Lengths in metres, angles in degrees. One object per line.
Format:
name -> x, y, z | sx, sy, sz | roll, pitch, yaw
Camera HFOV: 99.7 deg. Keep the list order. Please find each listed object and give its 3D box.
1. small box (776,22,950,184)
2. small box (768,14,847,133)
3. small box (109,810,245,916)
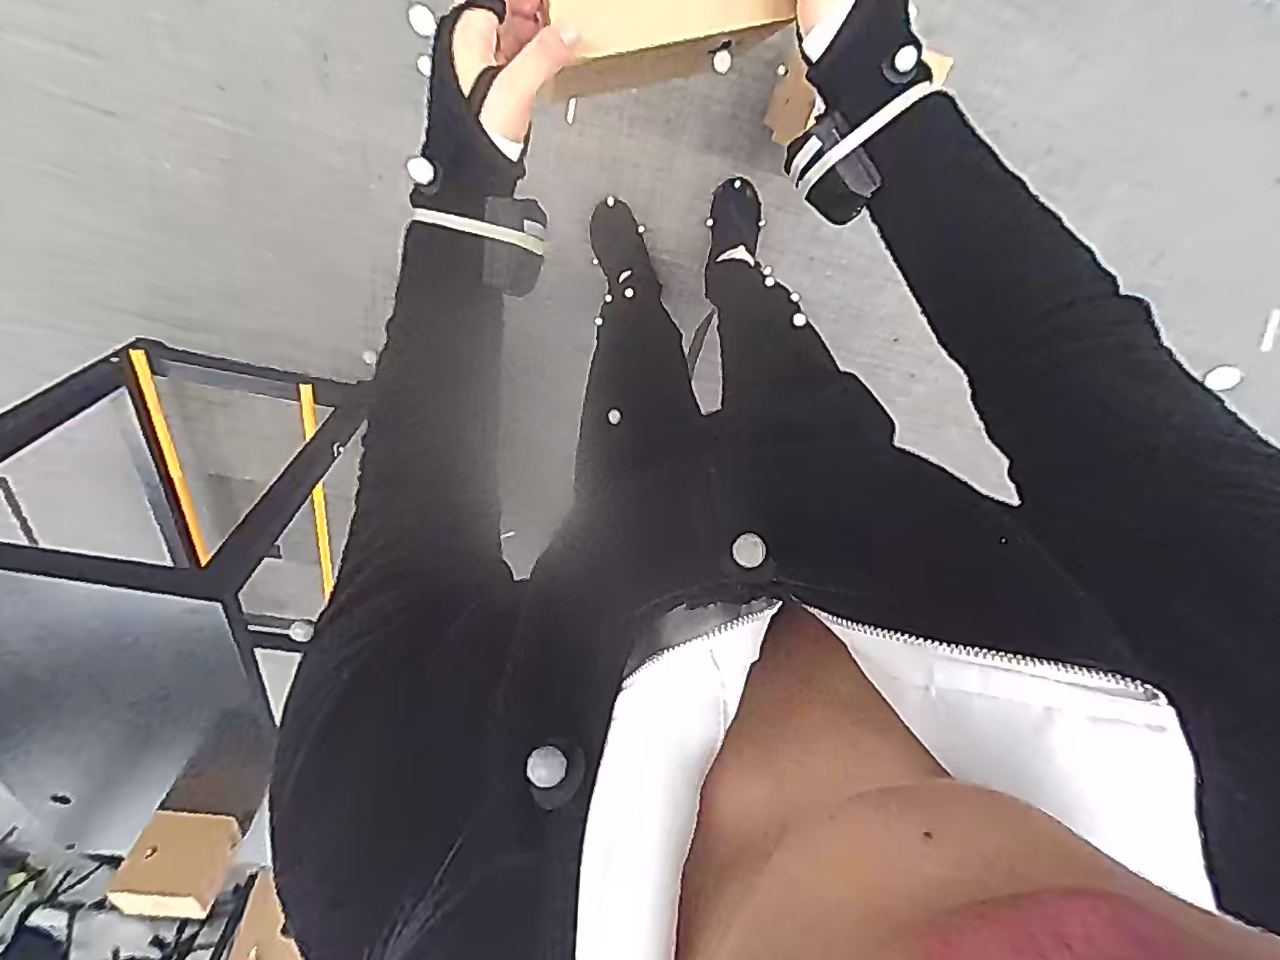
small box -> 0.339, -0.601, 0.869 | 0.179, 0.176, 0.168 | 10, 127, -11
small box -> 0.349, -0.713, 0.991 | 0.168, 0.176, 0.179 | 13, 128, -11
small box -> -1.103, 0.922, 1.306 | 0.179, 0.176, 0.168 | 12, 128, -11
